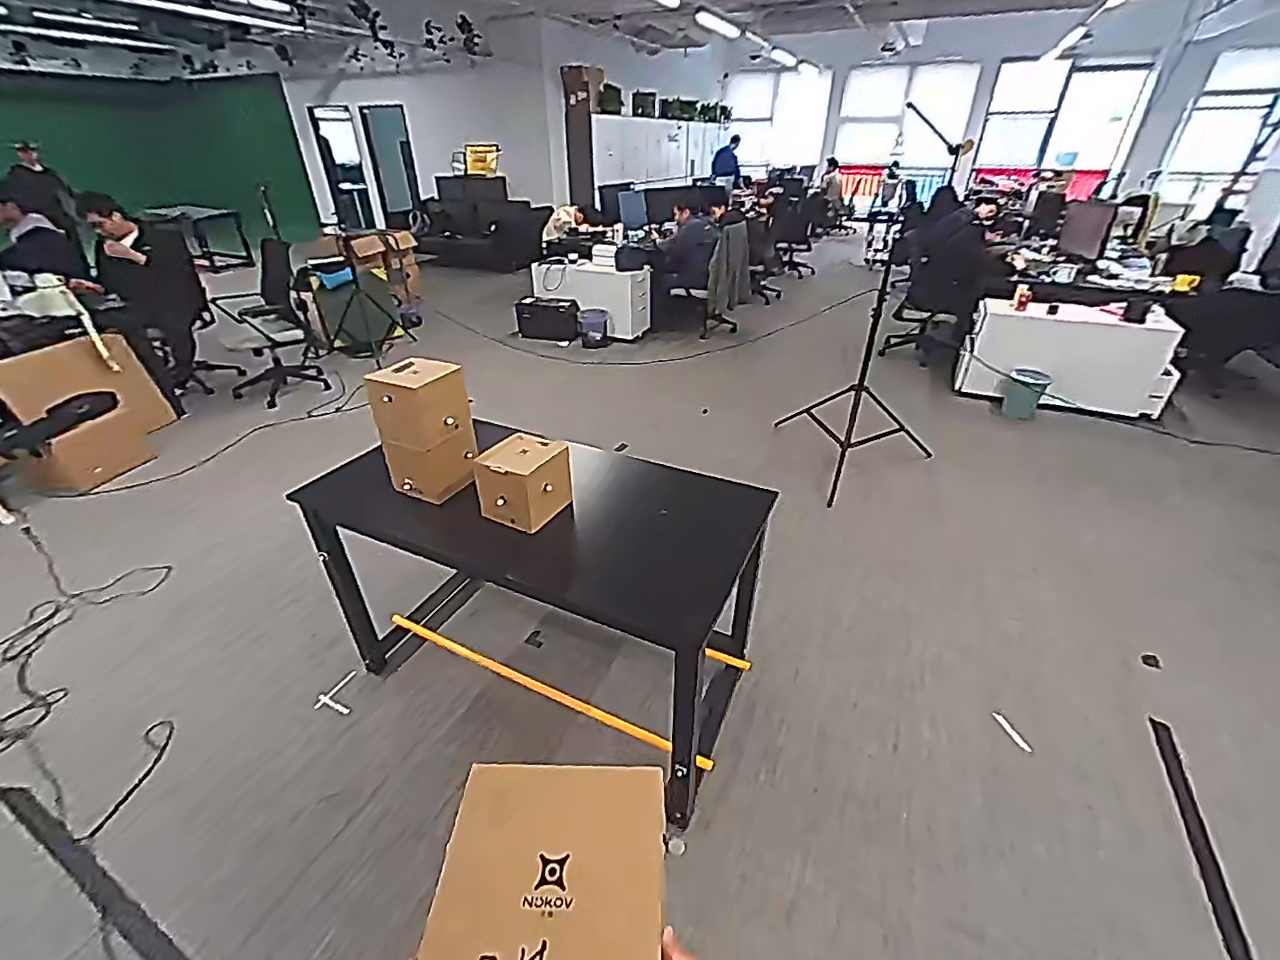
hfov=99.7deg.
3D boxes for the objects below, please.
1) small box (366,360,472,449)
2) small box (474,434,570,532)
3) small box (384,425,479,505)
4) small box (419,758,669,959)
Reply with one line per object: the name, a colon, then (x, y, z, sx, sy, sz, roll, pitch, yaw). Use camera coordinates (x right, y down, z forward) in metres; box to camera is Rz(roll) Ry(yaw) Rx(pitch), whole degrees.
small box: (-0.563, -0.196, 1.398, 0.179, 0.176, 0.168, 14, 34, 21)
small box: (-0.290, 0.007, 1.379, 0.168, 0.176, 0.179, 16, 36, 24)
small box: (-0.561, -0.057, 1.486, 0.168, 0.176, 0.179, 13, 35, 23)
small box: (-0.061, 0.358, 0.444, 0.168, 0.176, 0.179, -1, 35, 3)
